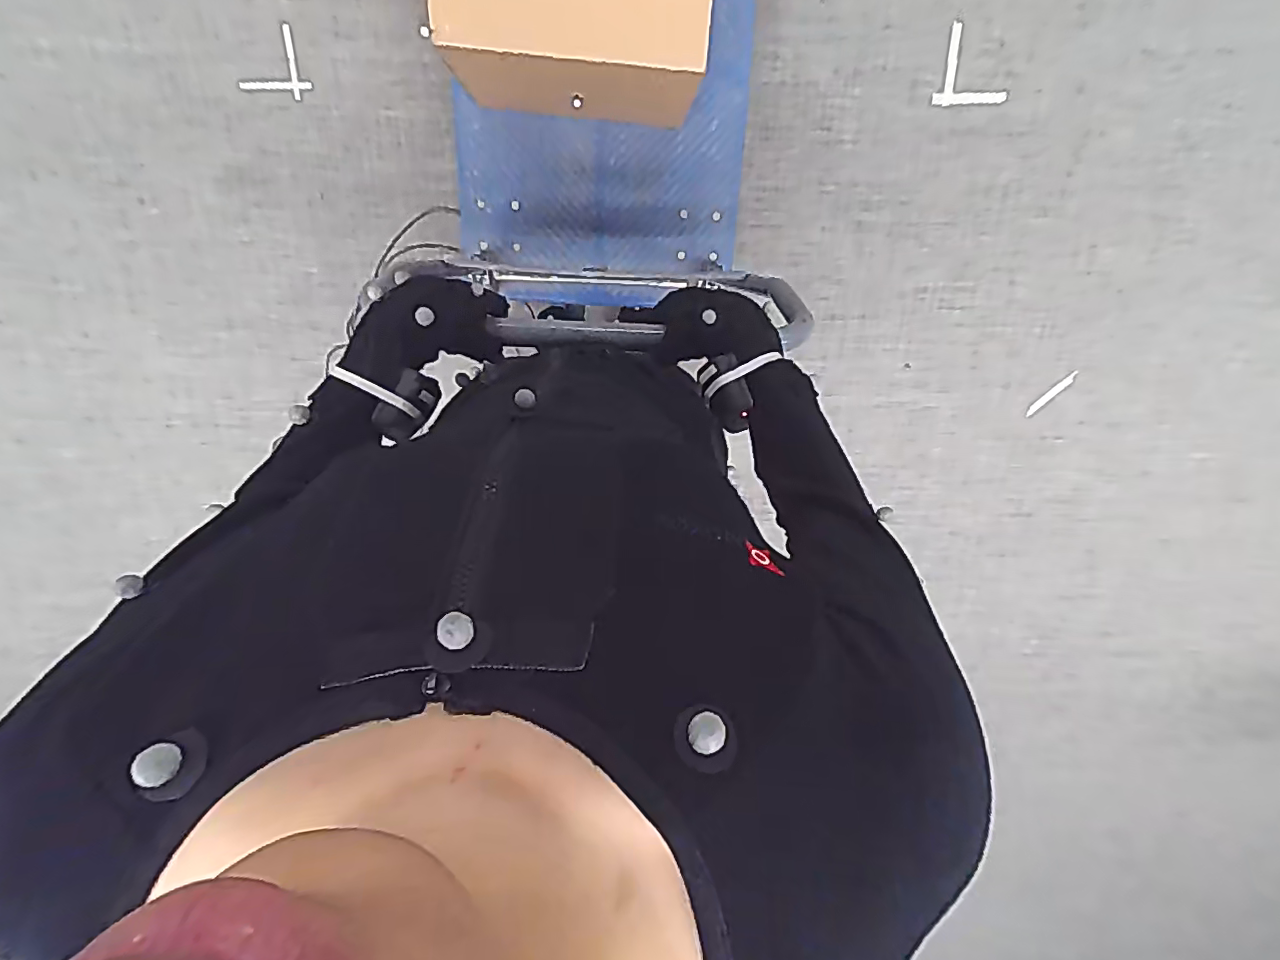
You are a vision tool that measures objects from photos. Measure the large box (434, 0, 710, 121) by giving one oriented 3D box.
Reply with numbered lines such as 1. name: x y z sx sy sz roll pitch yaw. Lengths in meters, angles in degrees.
1. large box: -0.096 -0.817 0.890 0.408 0.320 0.320 3 110 -3
